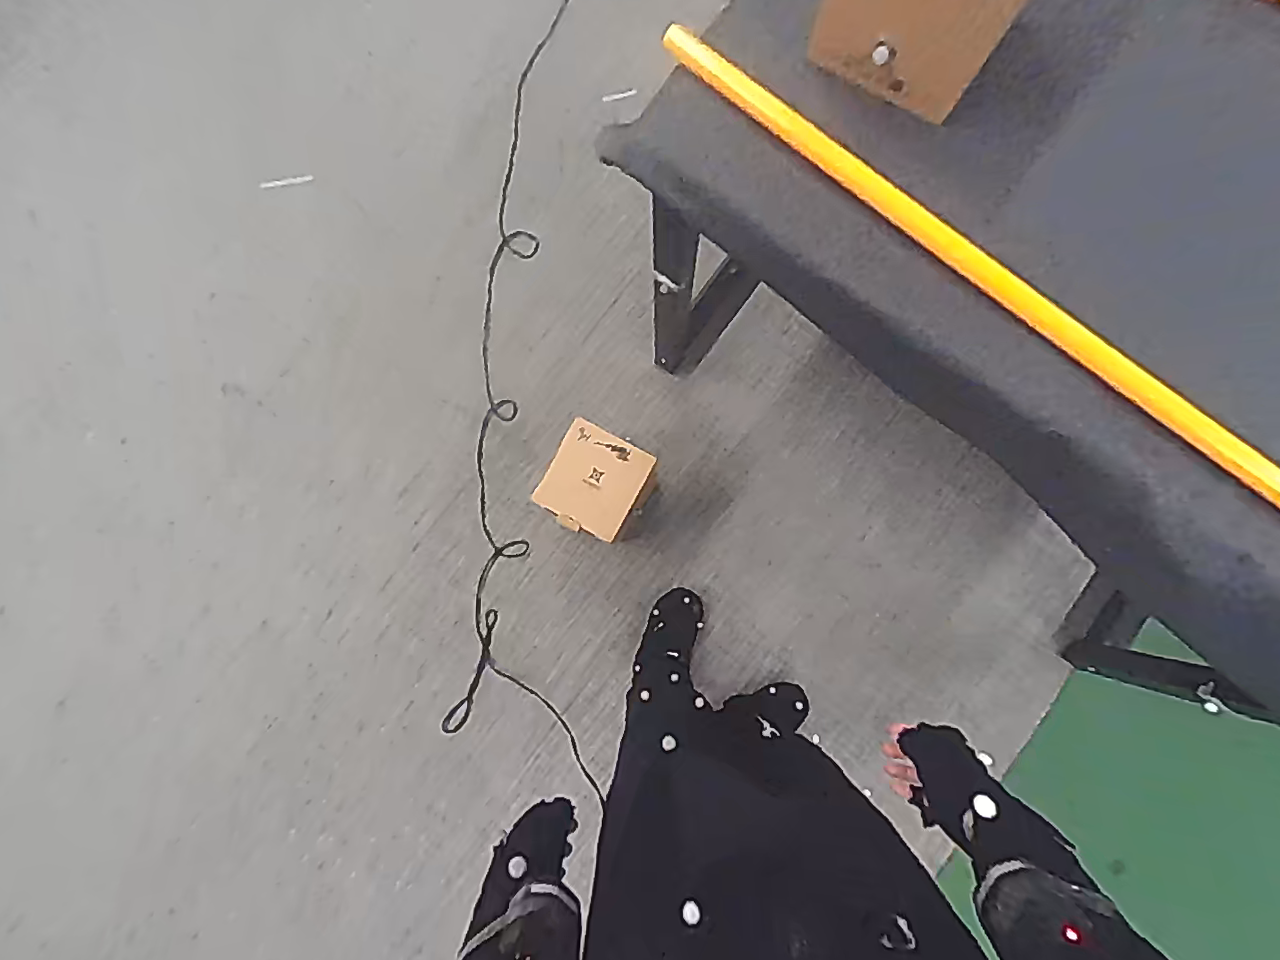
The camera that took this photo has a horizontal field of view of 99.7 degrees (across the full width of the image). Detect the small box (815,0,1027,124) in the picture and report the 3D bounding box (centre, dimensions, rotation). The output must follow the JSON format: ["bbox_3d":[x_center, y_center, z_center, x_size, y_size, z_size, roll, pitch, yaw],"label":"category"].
[{"bbox_3d":[0.292,-0.498,0.513,0.168,0.176,0.179,31,85,5],"label":"small box"}]

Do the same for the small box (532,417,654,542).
[{"bbox_3d":[-0.079,0.009,1.035,0.168,0.176,0.179,26,84,6],"label":"small box"}]
